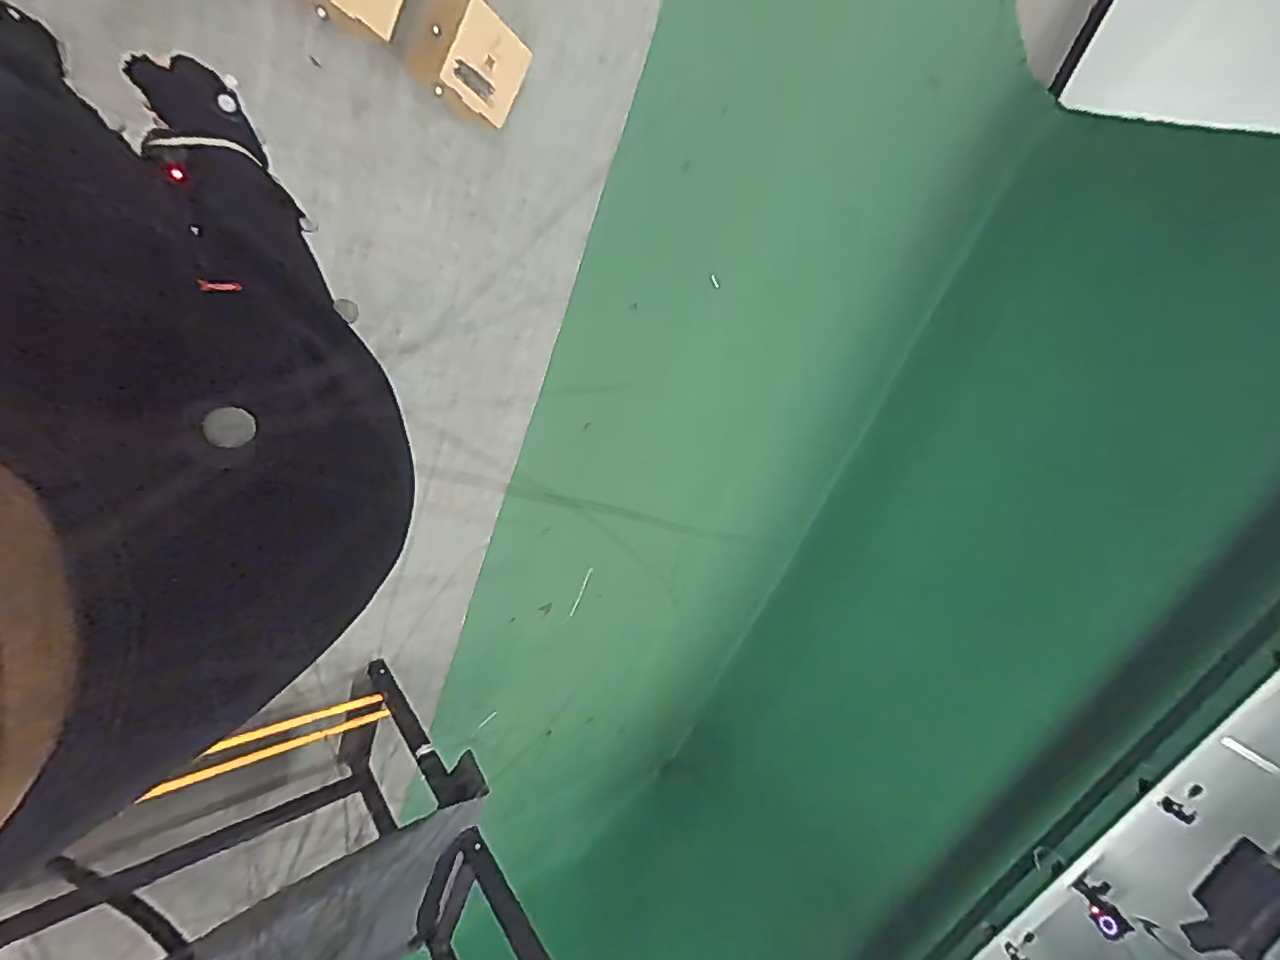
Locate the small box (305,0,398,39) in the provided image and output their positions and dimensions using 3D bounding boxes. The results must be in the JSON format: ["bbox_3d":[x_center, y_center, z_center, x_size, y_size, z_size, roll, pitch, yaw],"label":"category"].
[{"bbox_3d":[-0.542,-0.950,0.976,0.168,0.176,0.179,10,113,-52],"label":"small box"}]
